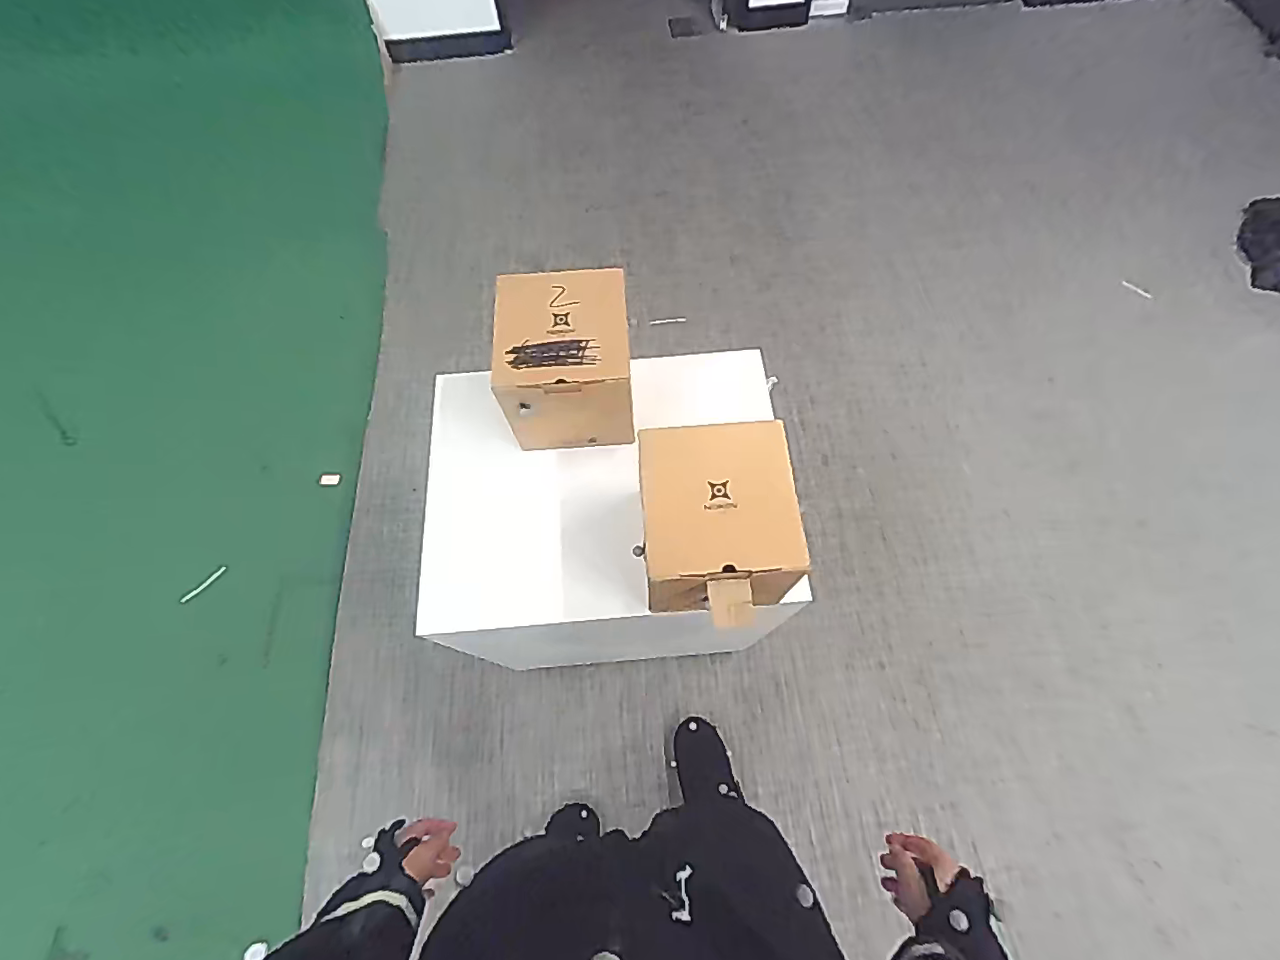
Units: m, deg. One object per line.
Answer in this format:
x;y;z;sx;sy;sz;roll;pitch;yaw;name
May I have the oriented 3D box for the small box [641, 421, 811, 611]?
0.087;0.049;0.646;0.168;0.176;0.179;-4;66;0;small box
